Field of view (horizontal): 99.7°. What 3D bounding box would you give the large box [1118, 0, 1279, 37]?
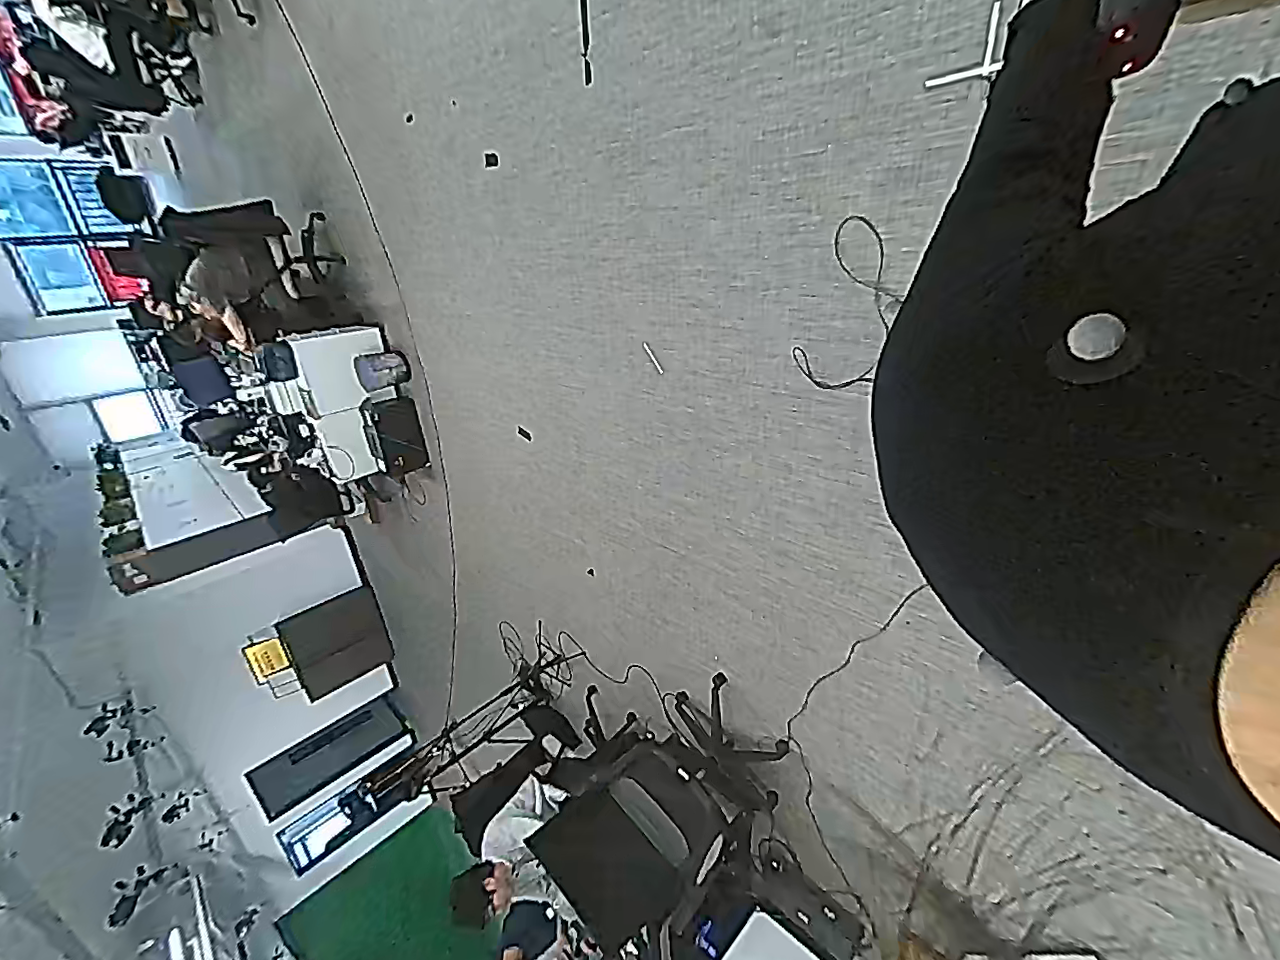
[{"bbox_3d":[0.568,-0.487,0.282,0.408,0.320,0.320,19,132,43],"label":"large box"}]
